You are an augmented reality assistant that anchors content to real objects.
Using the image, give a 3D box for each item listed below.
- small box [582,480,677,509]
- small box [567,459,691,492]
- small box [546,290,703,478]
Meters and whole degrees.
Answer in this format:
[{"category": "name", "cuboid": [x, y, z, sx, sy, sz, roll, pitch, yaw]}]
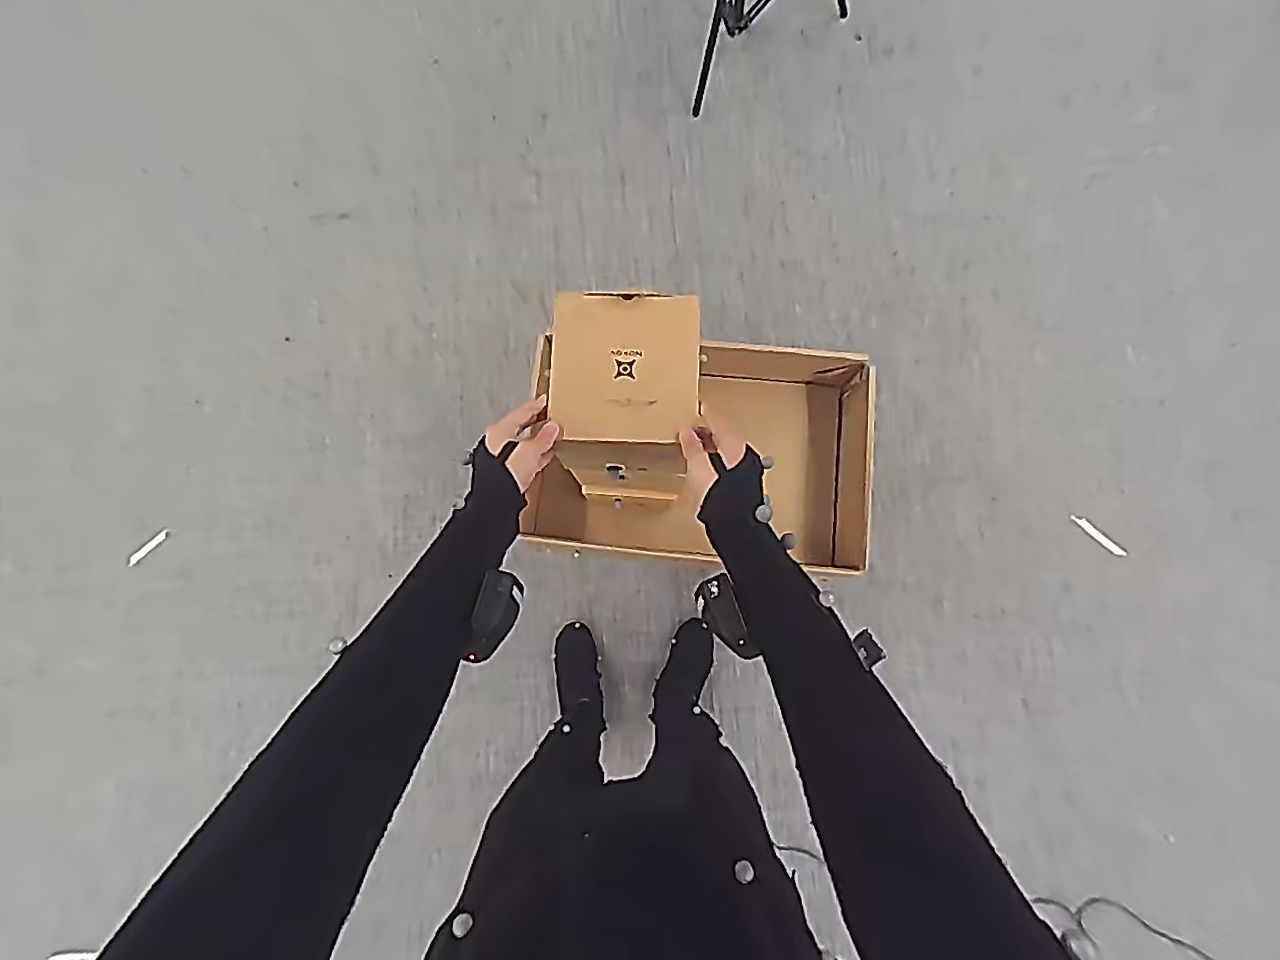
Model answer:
[{"category": "small box", "cuboid": [-0.009, -0.044, 1.001, 0.168, 0.176, 0.179, 4, 80, 1]}, {"category": "small box", "cuboid": [-0.007, -0.078, 0.840, 0.179, 0.176, 0.168, 6, 81, 1]}, {"category": "small box", "cuboid": [-0.014, -0.109, 0.665, 0.168, 0.176, 0.179, 2, 78, 2]}]
